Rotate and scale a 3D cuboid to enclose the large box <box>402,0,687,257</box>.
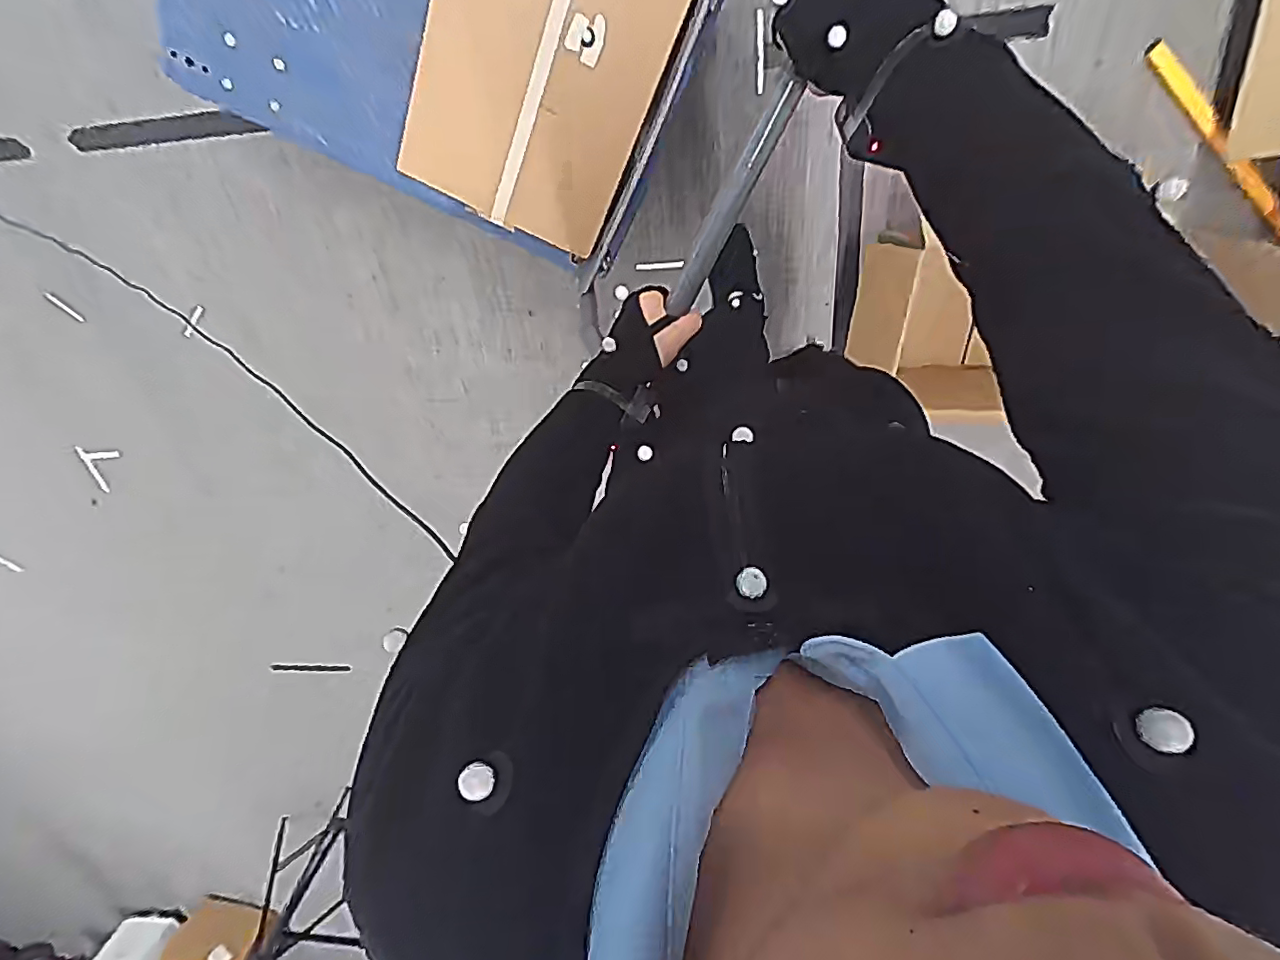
[{"bbox_3d":[-0.149,-0.644,0.884,0.320,0.320,0.408,20,119,-15],"label":"large box"}]
